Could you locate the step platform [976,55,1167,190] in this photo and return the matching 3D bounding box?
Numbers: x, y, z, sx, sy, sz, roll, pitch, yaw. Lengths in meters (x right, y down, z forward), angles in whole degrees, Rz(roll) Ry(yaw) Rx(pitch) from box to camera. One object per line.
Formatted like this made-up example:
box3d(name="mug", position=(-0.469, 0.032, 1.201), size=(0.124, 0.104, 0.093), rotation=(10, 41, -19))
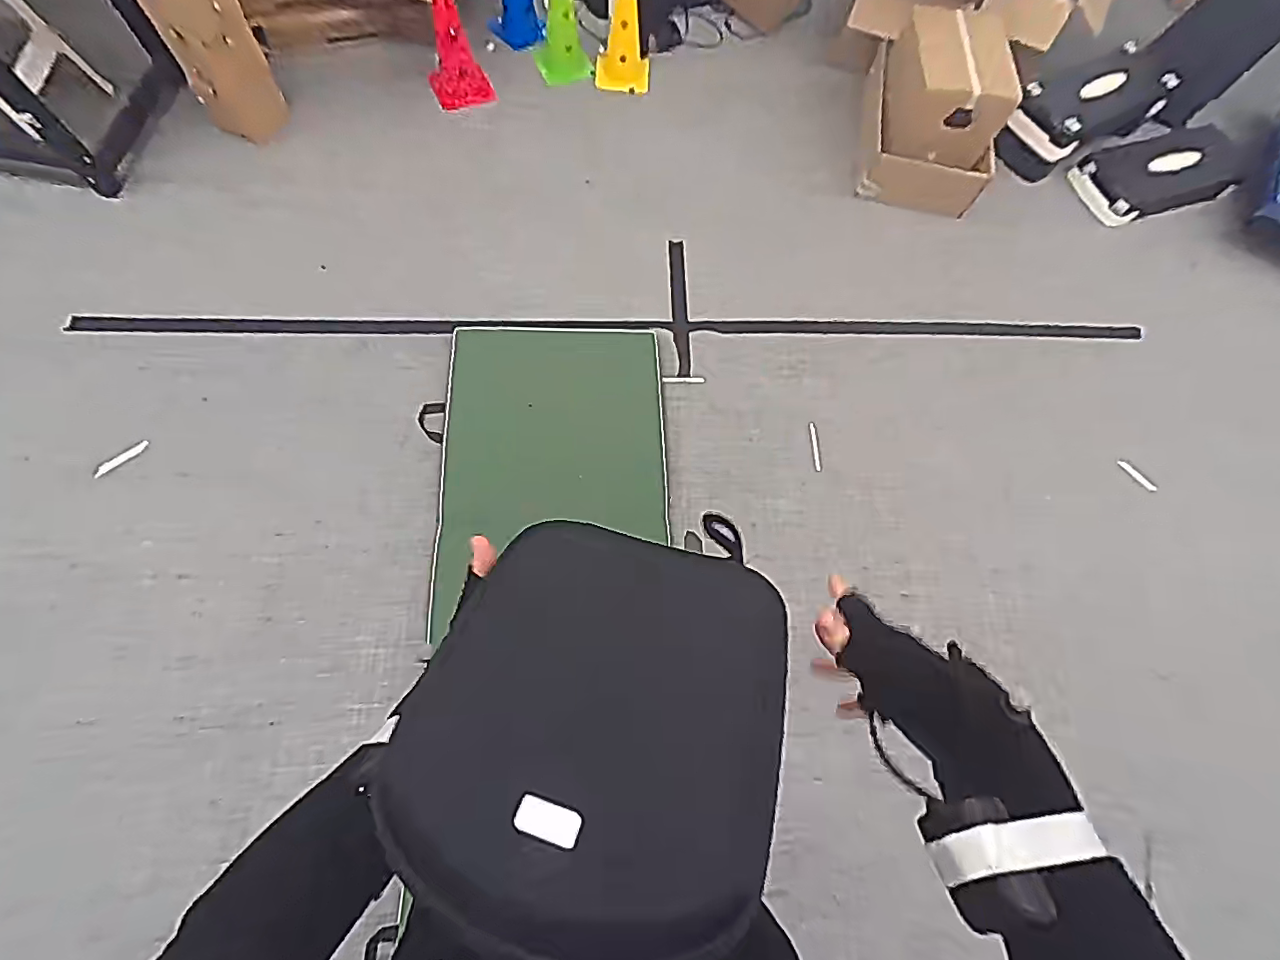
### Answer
box3d(name="step platform", position=(1.669, -1.388, 2.089), size=(0.684, 0.204, 0.286), rotation=(-29, 75, -14))
